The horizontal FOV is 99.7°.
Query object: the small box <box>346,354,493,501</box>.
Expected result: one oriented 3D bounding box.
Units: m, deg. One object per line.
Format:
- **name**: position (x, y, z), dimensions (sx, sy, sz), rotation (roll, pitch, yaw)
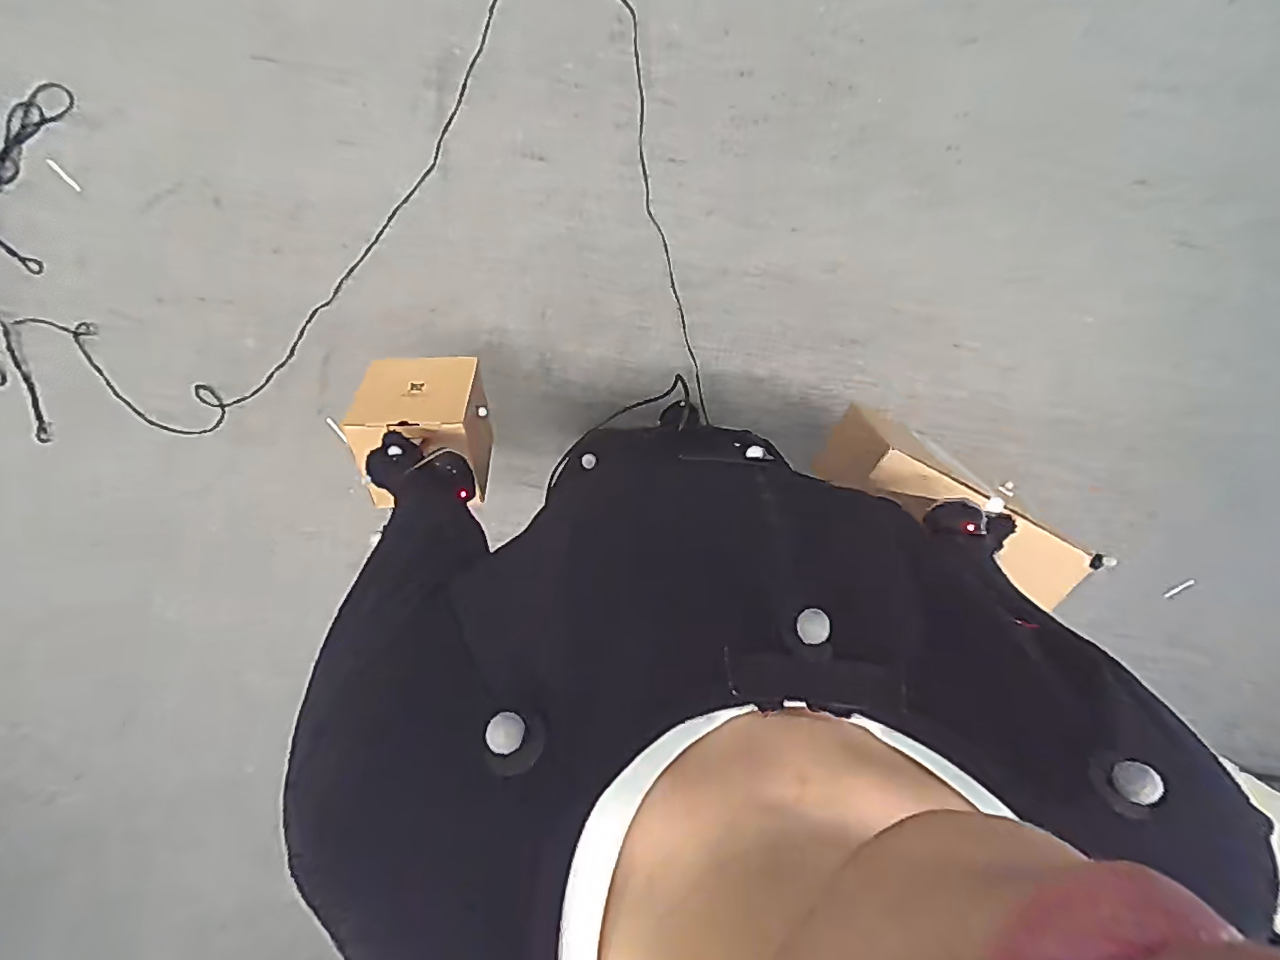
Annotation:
- **small box**: position (-0.337, -0.084, 0.868), dimensions (0.168, 0.179, 0.176), rotation (-2, 135, -5)
